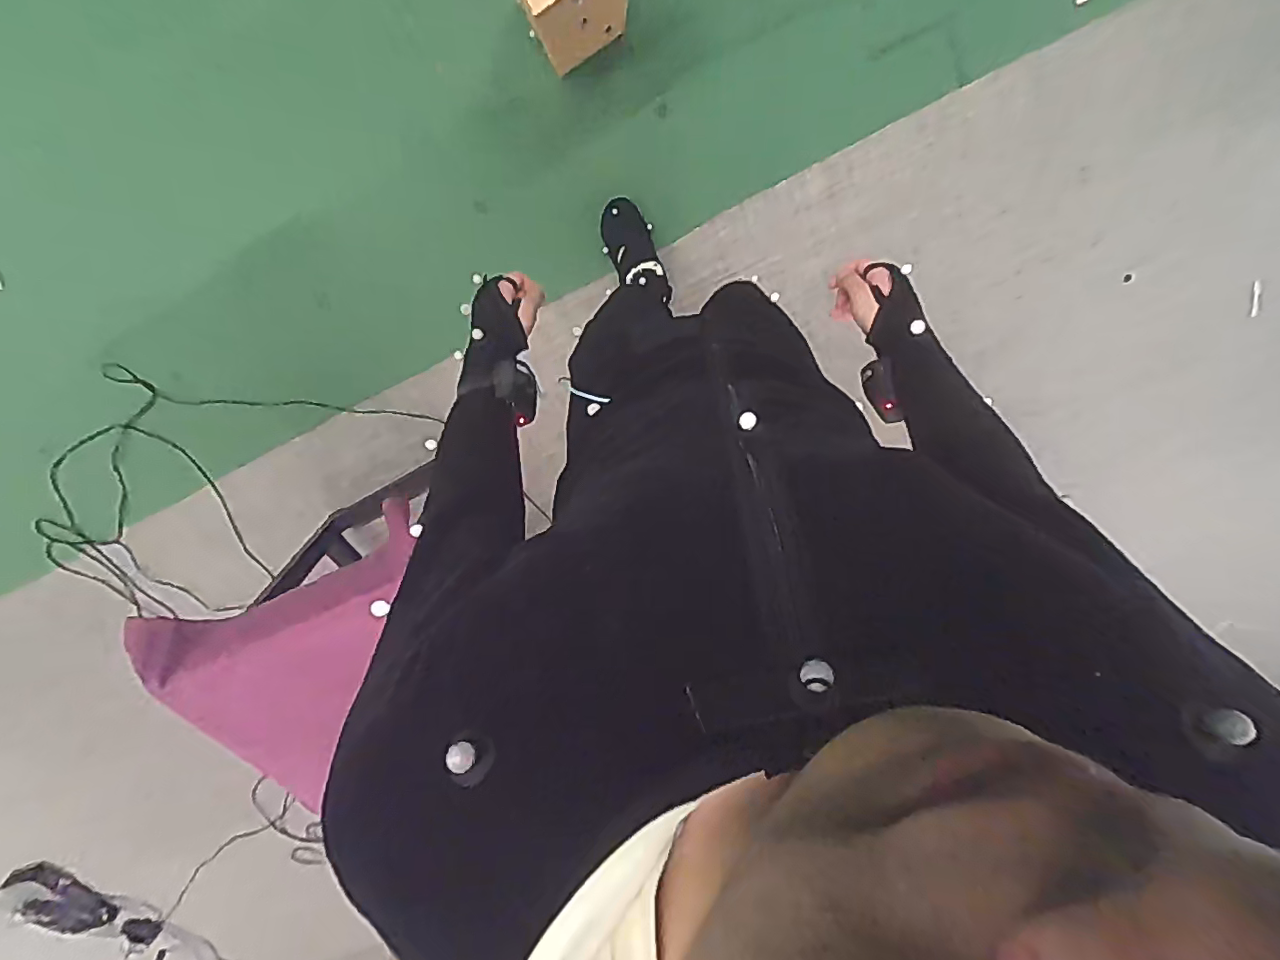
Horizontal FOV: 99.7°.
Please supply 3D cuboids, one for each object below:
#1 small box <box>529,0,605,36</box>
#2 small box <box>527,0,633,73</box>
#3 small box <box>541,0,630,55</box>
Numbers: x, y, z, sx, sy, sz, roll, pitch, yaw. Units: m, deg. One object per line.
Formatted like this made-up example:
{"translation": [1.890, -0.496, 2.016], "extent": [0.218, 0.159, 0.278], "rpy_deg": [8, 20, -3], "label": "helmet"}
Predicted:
{"translation": [-0.120, -0.834, 0.828], "extent": [0.179, 0.176, 0.168], "rpy_deg": [-28, 116, 11], "label": "small box"}
{"translation": [-0.131, -0.988, 1.115], "extent": [0.179, 0.176, 0.168], "rpy_deg": [-28, 115, 11], "label": "small box"}
{"translation": [-0.123, -0.913, 0.972], "extent": [0.179, 0.176, 0.168], "rpy_deg": [-26, 116, 11], "label": "small box"}
